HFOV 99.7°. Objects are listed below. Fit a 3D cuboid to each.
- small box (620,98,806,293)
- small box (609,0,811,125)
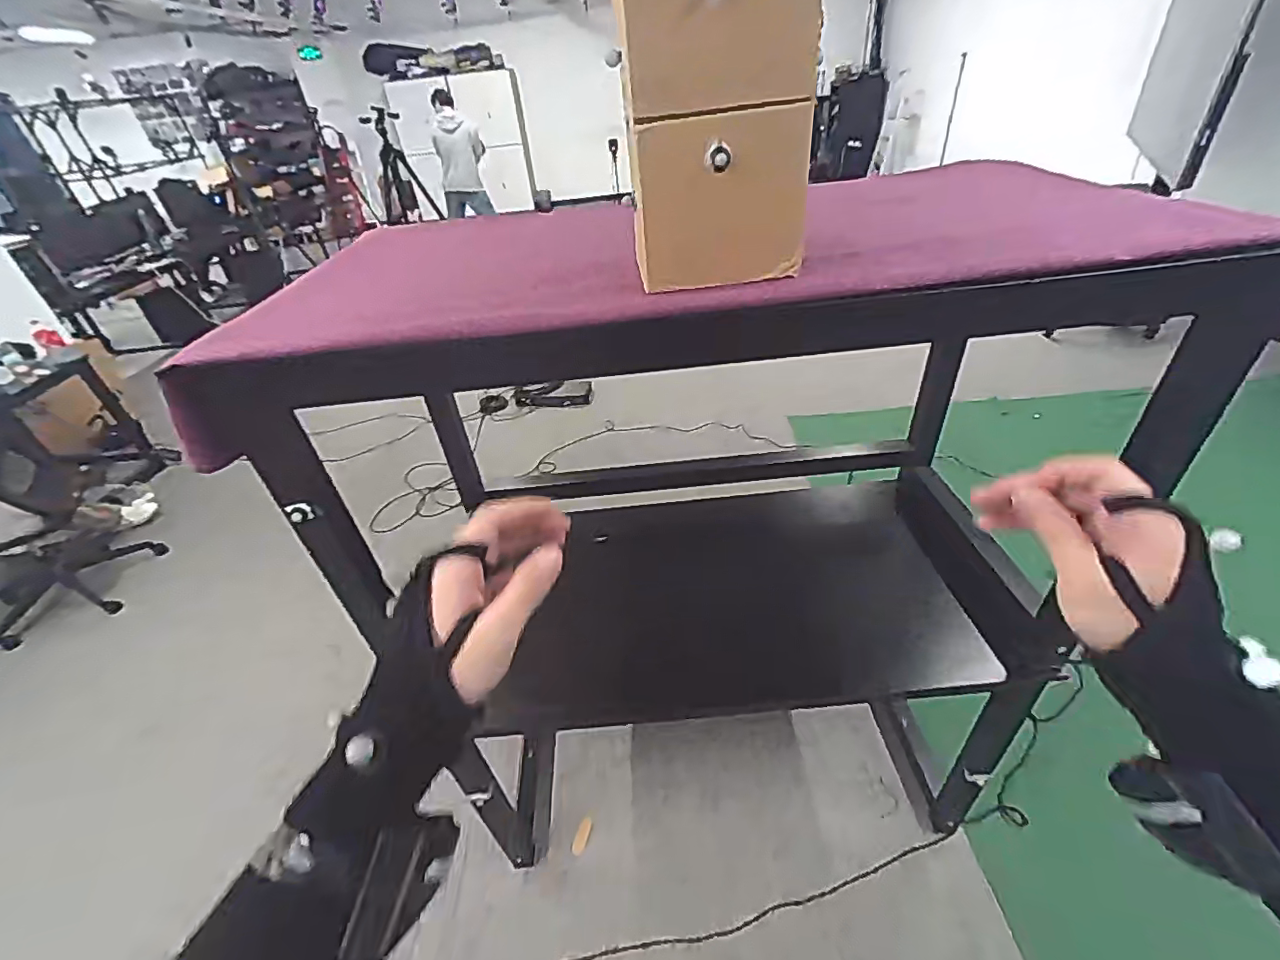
[{"bbox_3d":[0.076,-0.323,0.617,0.179,0.176,0.168,-6,37,0],"label":"small box"},{"bbox_3d":[0.060,-0.455,0.520,0.179,0.176,0.168,-8,37,1],"label":"small box"}]
